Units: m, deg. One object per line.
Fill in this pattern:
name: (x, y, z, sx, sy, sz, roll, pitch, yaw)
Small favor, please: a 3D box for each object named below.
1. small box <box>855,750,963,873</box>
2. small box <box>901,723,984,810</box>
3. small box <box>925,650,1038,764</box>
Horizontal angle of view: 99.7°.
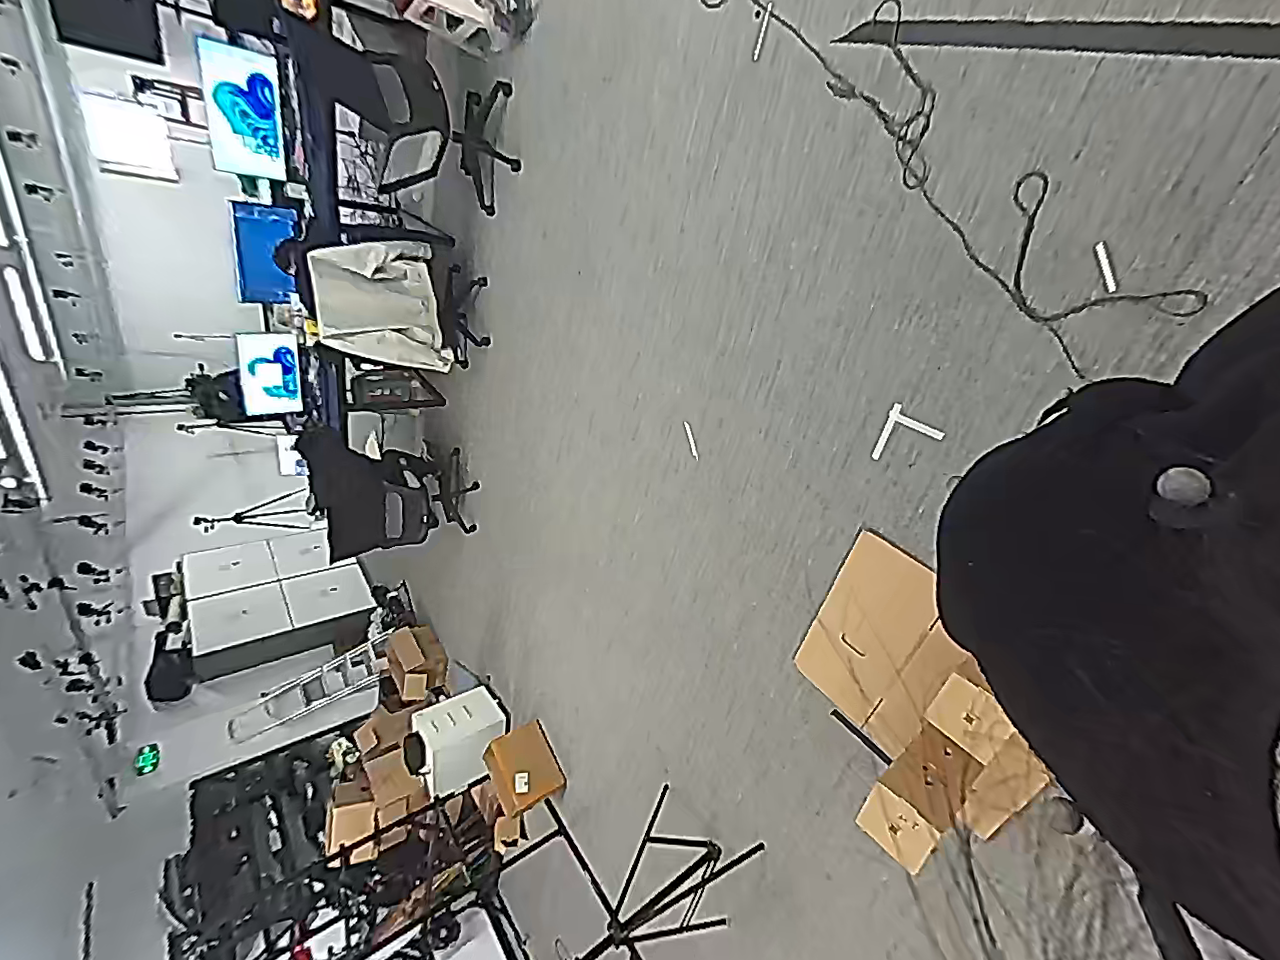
small box: (0.691, 0.842, 1.386, 0.168, 0.176, 0.179, 34, 124, 40)
small box: (0.815, 0.812, 1.491, 0.168, 0.176, 0.179, 33, 123, 42)
small box: (0.867, 0.564, 1.367, 0.168, 0.176, 0.179, 38, 127, 40)
